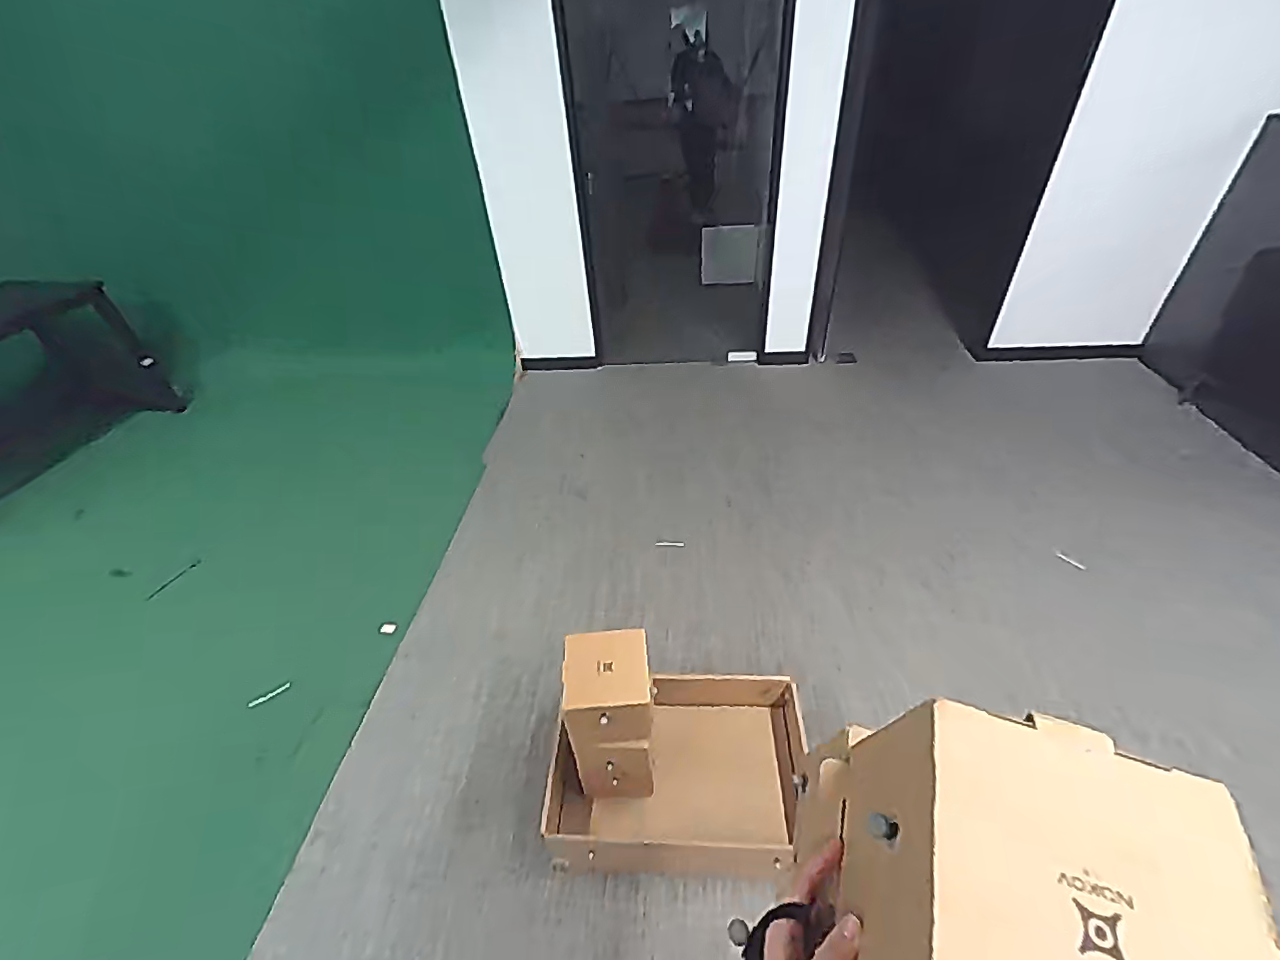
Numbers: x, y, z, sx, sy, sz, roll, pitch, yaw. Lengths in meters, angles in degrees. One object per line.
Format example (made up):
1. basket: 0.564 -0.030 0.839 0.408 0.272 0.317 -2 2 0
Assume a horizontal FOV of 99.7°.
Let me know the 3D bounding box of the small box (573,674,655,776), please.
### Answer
1. small box: -0.052 0.566 1.255 0.168 0.176 0.179 1 41 4

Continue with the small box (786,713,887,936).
1. small box: 0.244 0.339 0.495 0.179 0.176 0.168 14 57 9

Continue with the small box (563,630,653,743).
1. small box: -0.063 0.441 1.152 0.179 0.176 0.168 -5 42 0

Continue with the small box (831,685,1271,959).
1. small box: 0.234 0.264 0.348 0.168 0.176 0.179 14 56 11

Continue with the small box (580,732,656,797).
1. small box: -0.051 0.685 1.368 0.179 0.176 0.168 -2 41 1
